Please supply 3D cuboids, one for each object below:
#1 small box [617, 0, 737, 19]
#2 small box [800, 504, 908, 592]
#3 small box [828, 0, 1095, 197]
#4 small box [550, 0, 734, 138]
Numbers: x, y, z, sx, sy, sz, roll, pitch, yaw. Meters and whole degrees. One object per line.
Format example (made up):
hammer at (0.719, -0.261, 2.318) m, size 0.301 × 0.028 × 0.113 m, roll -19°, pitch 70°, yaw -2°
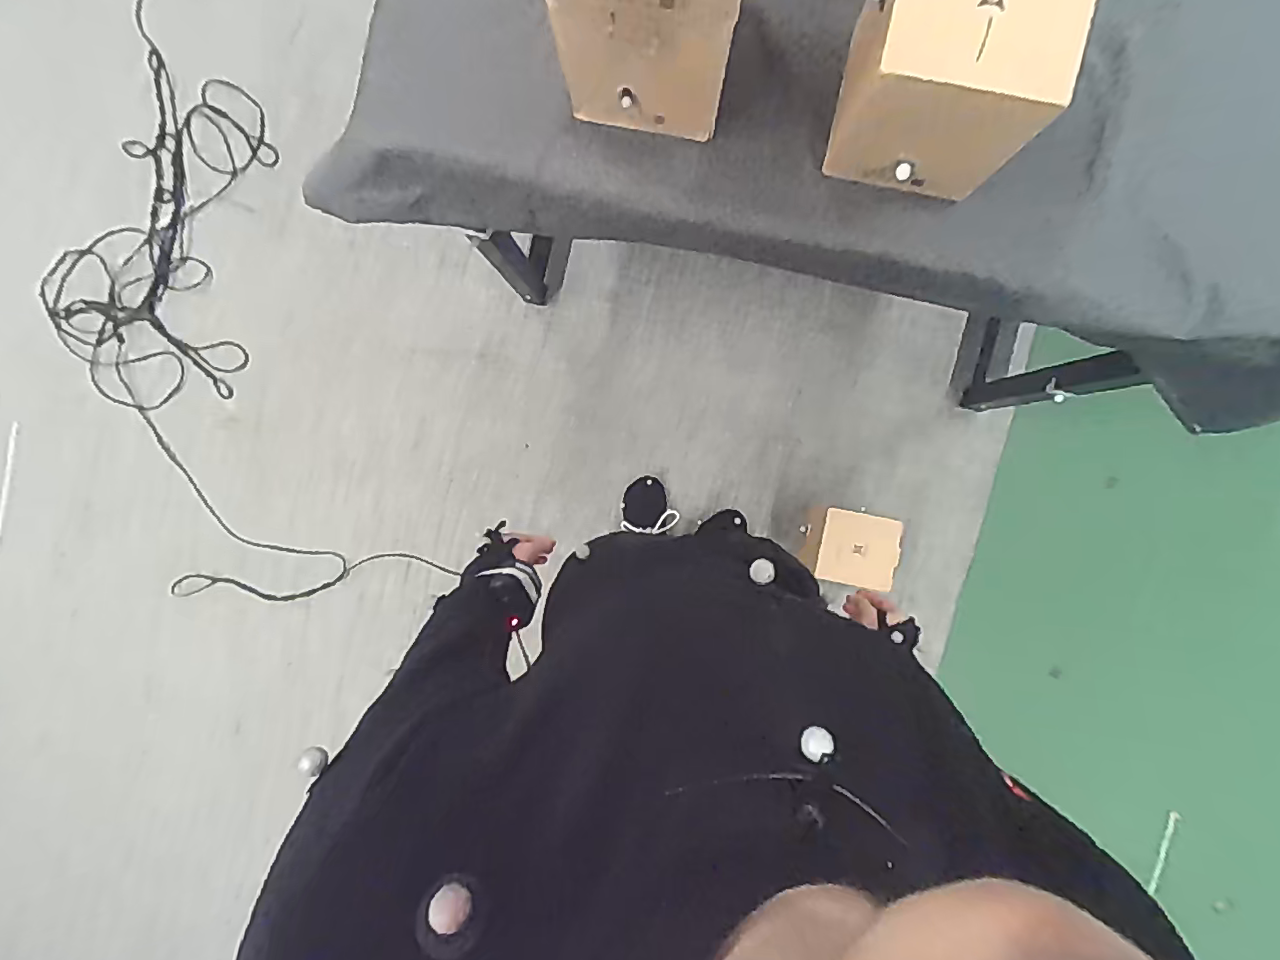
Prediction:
small box at (0.011, -0.484, 0.384) m, size 0.168 × 0.176 × 0.179 m, roll 9°, pitch 93°, yaw 2°
small box at (0.496, 0.152, 1.277) m, size 0.179 × 0.176 × 0.168 m, roll 10°, pitch 91°, yaw 2°
small box at (0.303, -0.419, 0.534) m, size 0.168 × 0.176 × 0.179 m, roll 12°, pitch 92°, yaw 2°
small box at (0.013, -0.494, 0.547) m, size 0.168 × 0.176 × 0.179 m, roll 10°, pitch 93°, yaw 2°
